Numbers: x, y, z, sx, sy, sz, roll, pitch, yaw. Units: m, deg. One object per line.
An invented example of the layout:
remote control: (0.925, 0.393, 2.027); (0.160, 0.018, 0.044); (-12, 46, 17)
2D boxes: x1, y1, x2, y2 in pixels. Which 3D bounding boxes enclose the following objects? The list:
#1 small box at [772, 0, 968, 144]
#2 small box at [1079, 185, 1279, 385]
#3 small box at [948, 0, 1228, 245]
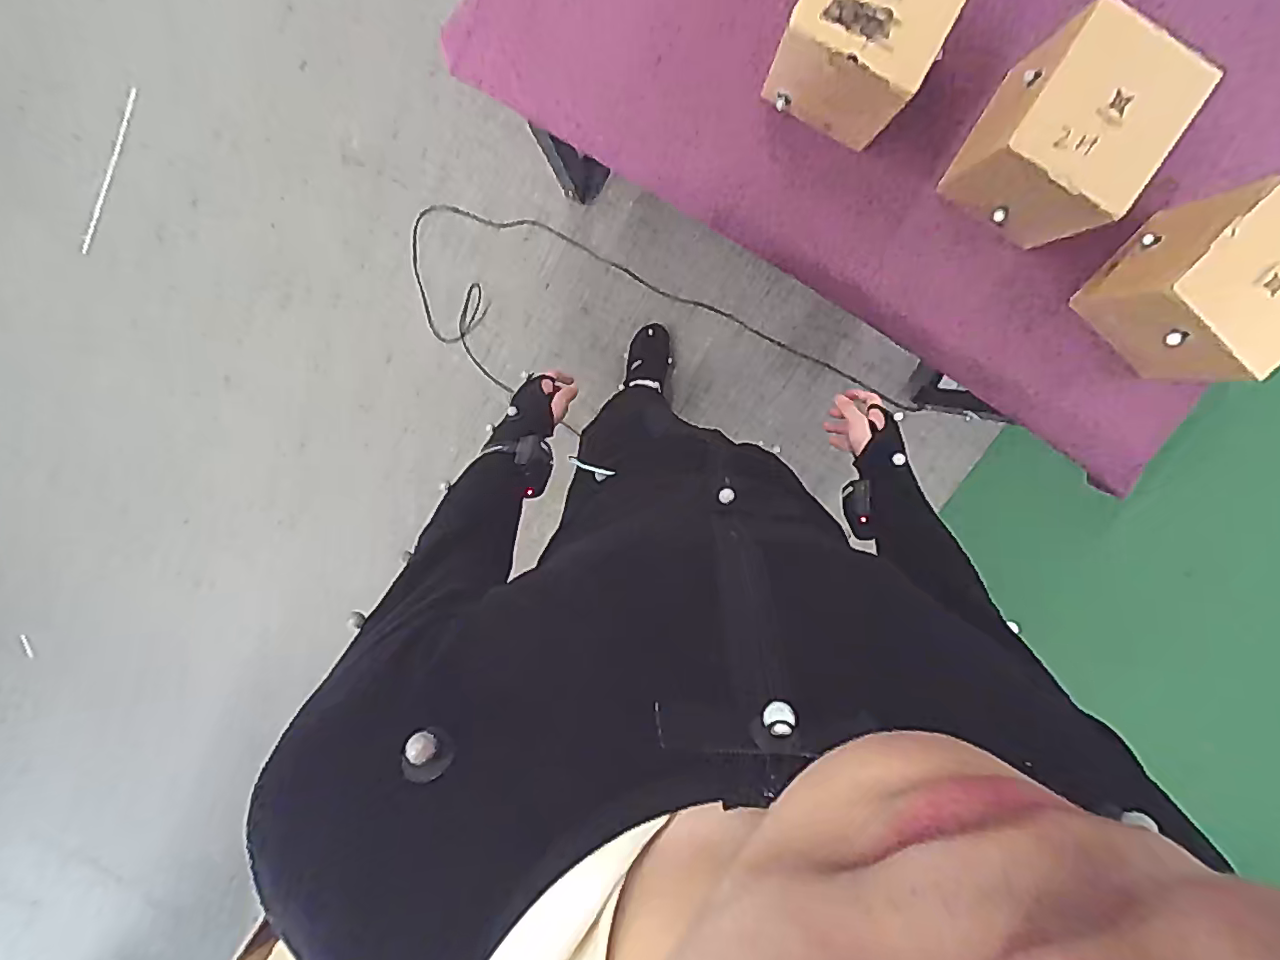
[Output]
small box: (0.278, -0.556, 0.661); (0.168, 0.176, 0.179); (27, 101, -4)
small box: (0.753, -0.248, 0.712); (0.179, 0.176, 0.168); (40, 101, -6)
small box: (0.535, -0.429, 0.679); (0.168, 0.176, 0.179); (30, 102, -4)
